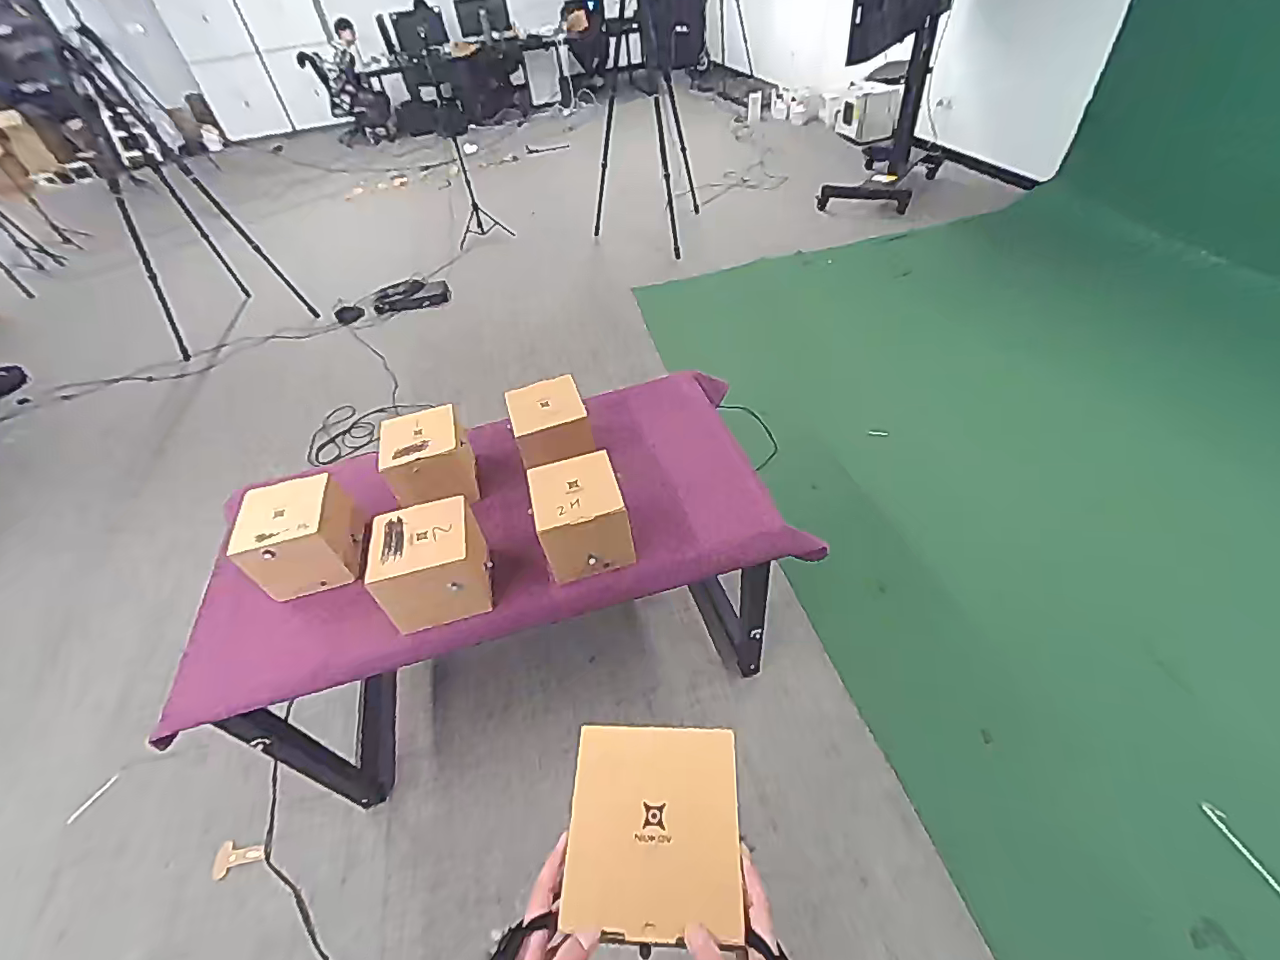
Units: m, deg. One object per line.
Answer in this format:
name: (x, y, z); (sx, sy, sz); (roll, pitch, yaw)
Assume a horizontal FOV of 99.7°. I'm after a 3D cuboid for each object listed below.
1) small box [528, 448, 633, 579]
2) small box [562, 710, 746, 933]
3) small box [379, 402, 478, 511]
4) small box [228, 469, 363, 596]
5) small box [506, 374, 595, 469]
small box: (-0.119, 0.068, 1.085); (0.168, 0.176, 0.179); (-15, 45, -6)
small box: (0.022, 0.370, 0.586); (0.168, 0.176, 0.179); (-1, 49, 6)
small box: (-0.482, -0.048, 1.251); (0.168, 0.176, 0.179); (-16, 46, -8)
small box: (-0.699, 0.109, 1.124); (0.168, 0.176, 0.179); (-16, 46, -6)
small box: (-0.209, -0.121, 1.286); (0.168, 0.176, 0.179); (-17, 47, -7)
